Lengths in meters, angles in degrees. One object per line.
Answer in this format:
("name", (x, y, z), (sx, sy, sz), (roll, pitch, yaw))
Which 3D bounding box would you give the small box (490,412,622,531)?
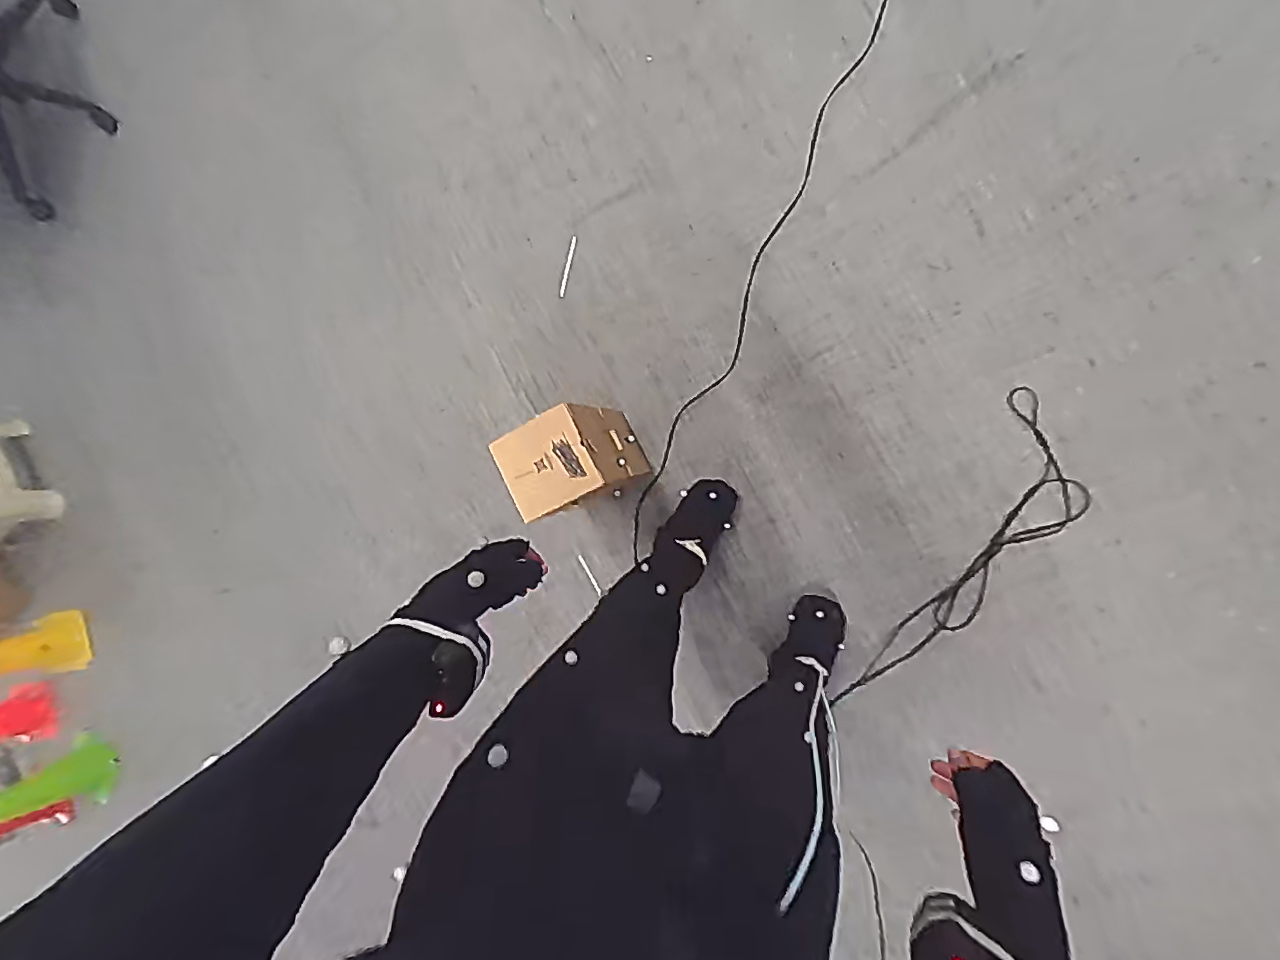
("small box", (-0.150, -0.021, 1.052), (0.179, 0.176, 0.168), (-26, 88, 16))

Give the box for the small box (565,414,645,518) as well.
("small box", (-0.103, -0.032, 1.212), (0.179, 0.176, 0.168), (-30, 84, 13))
